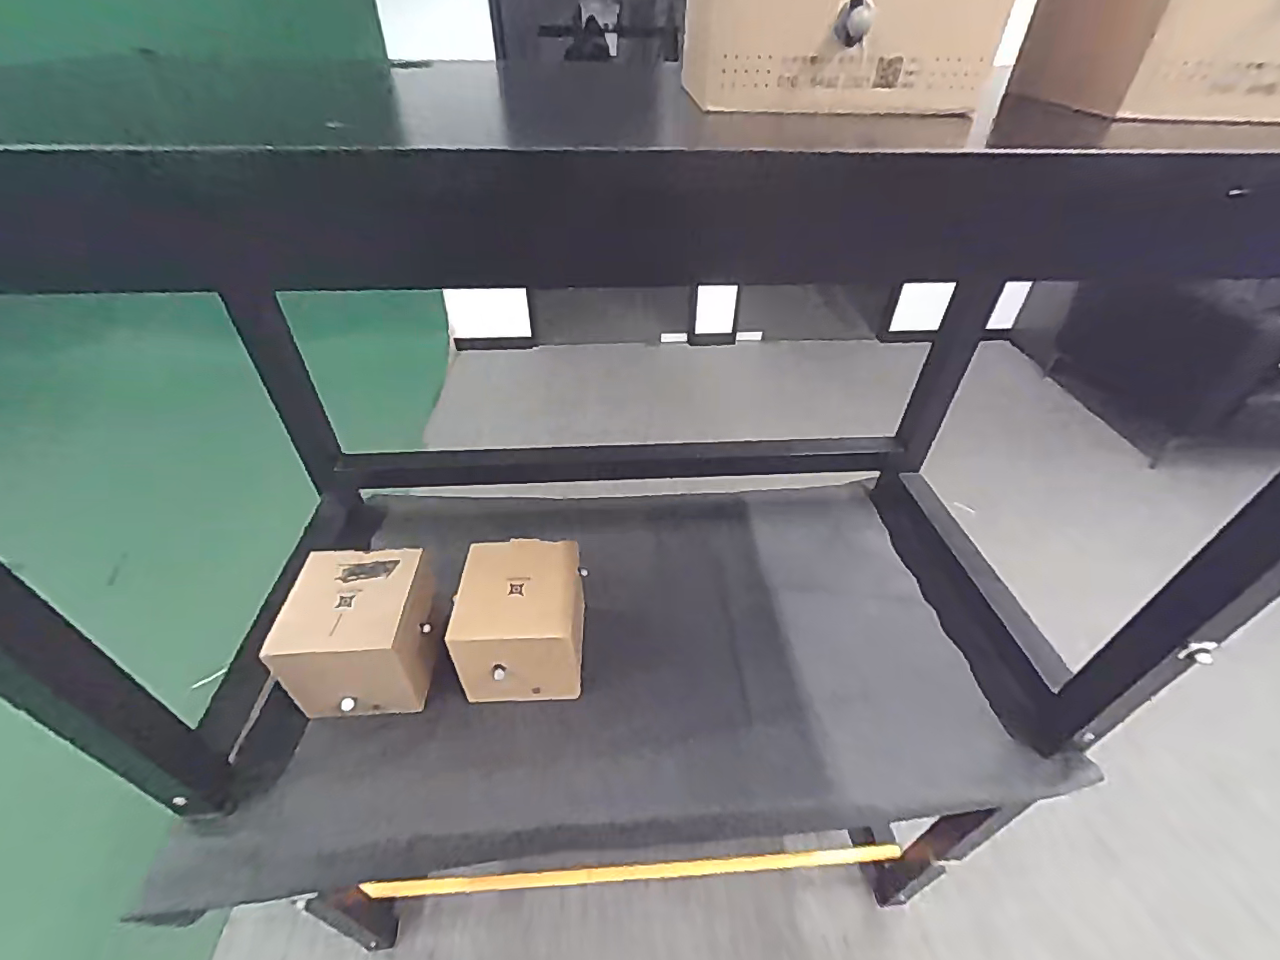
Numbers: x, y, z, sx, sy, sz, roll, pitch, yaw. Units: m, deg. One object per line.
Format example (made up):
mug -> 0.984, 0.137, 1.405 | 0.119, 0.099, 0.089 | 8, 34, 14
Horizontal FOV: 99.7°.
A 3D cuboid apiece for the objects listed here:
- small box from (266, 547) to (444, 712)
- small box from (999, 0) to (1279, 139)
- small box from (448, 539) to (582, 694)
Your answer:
small box -> -0.403, 0.221, 0.806 | 0.168, 0.176, 0.179 | -2, 41, -4
small box -> 0.368, -0.320, 0.334 | 0.168, 0.176, 0.179 | 6, 40, 5
small box -> -0.177, 0.211, 0.828 | 0.168, 0.176, 0.179 | -1, 40, -3
